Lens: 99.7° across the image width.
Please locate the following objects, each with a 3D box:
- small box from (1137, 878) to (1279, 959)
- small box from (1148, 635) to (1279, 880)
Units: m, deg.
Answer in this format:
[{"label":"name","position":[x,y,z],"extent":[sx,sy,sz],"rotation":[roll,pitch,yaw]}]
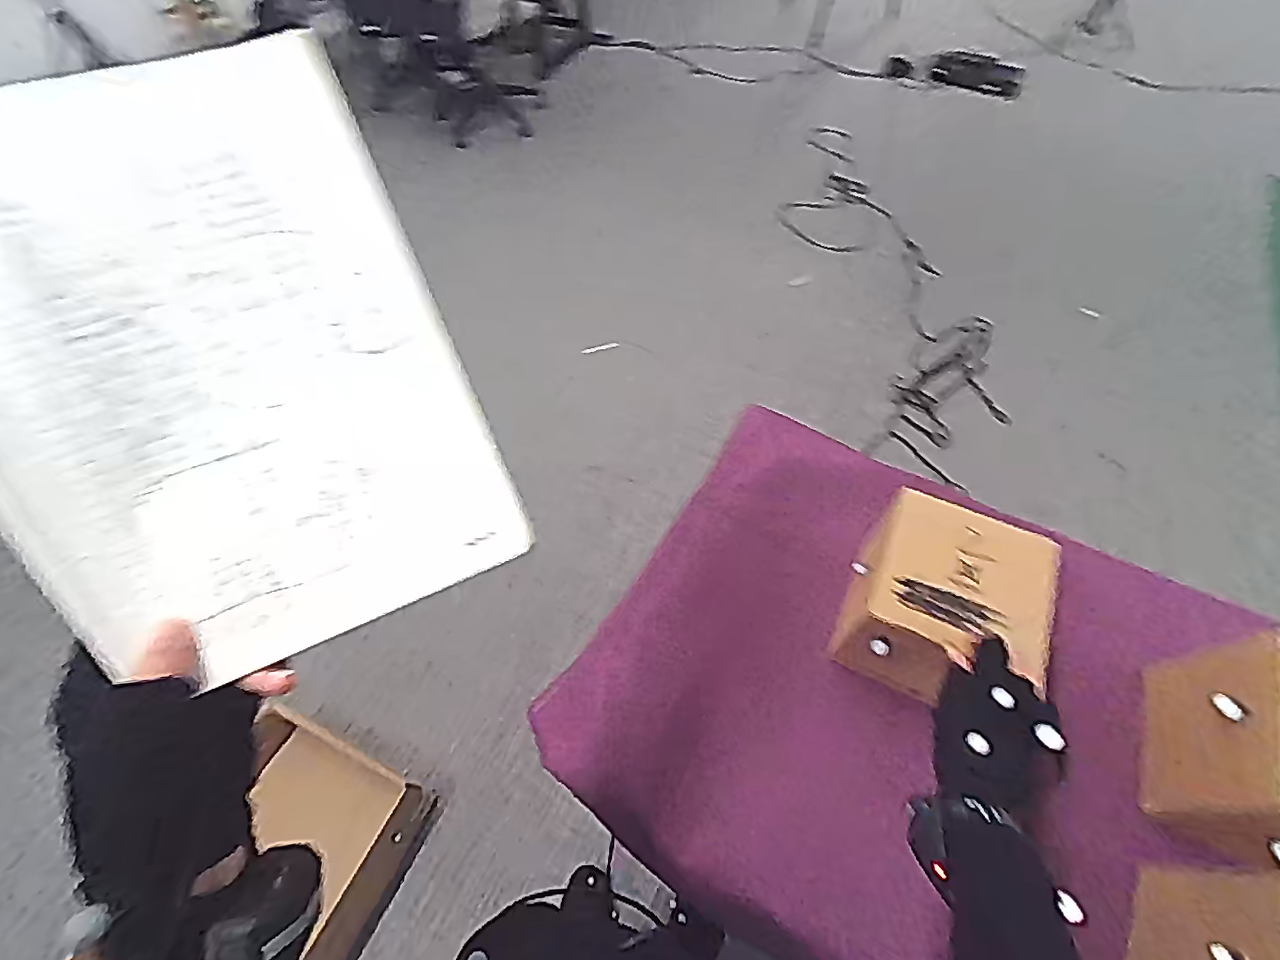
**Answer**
[{"label":"small box","position":[0.541,0.456,0.430],"extent":[0.168,0.176,0.179],"rotation":[29,62,20]},{"label":"small box","position":[0.658,0.291,0.536],"extent":[0.168,0.176,0.179],"rotation":[24,60,17]}]
